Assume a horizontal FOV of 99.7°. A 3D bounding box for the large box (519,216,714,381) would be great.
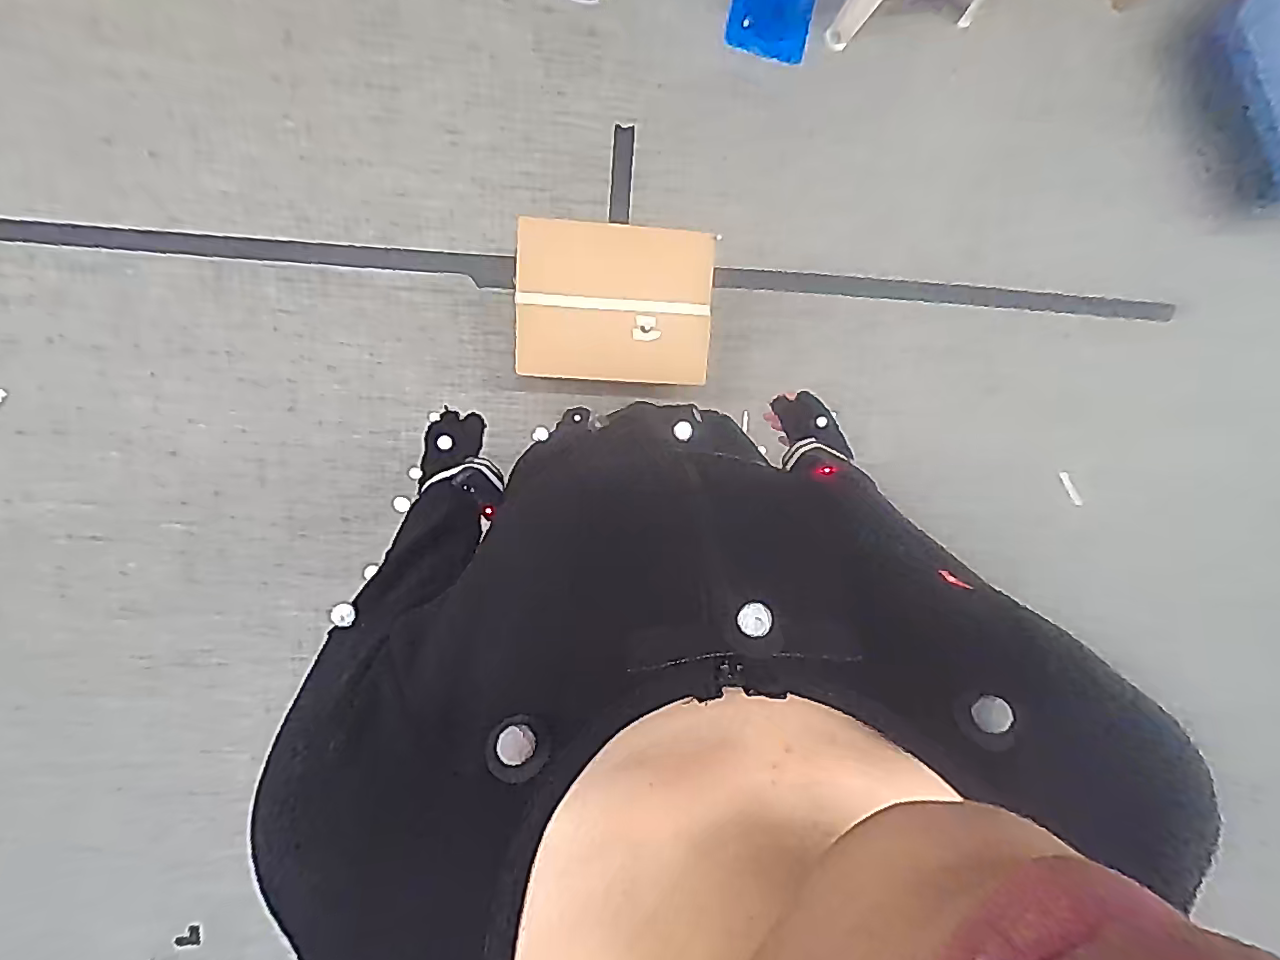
[{"bbox_3d":[-0.067,-0.397,1.267,0.408,0.320,0.320,2,101,-7],"label":"large box"}]
